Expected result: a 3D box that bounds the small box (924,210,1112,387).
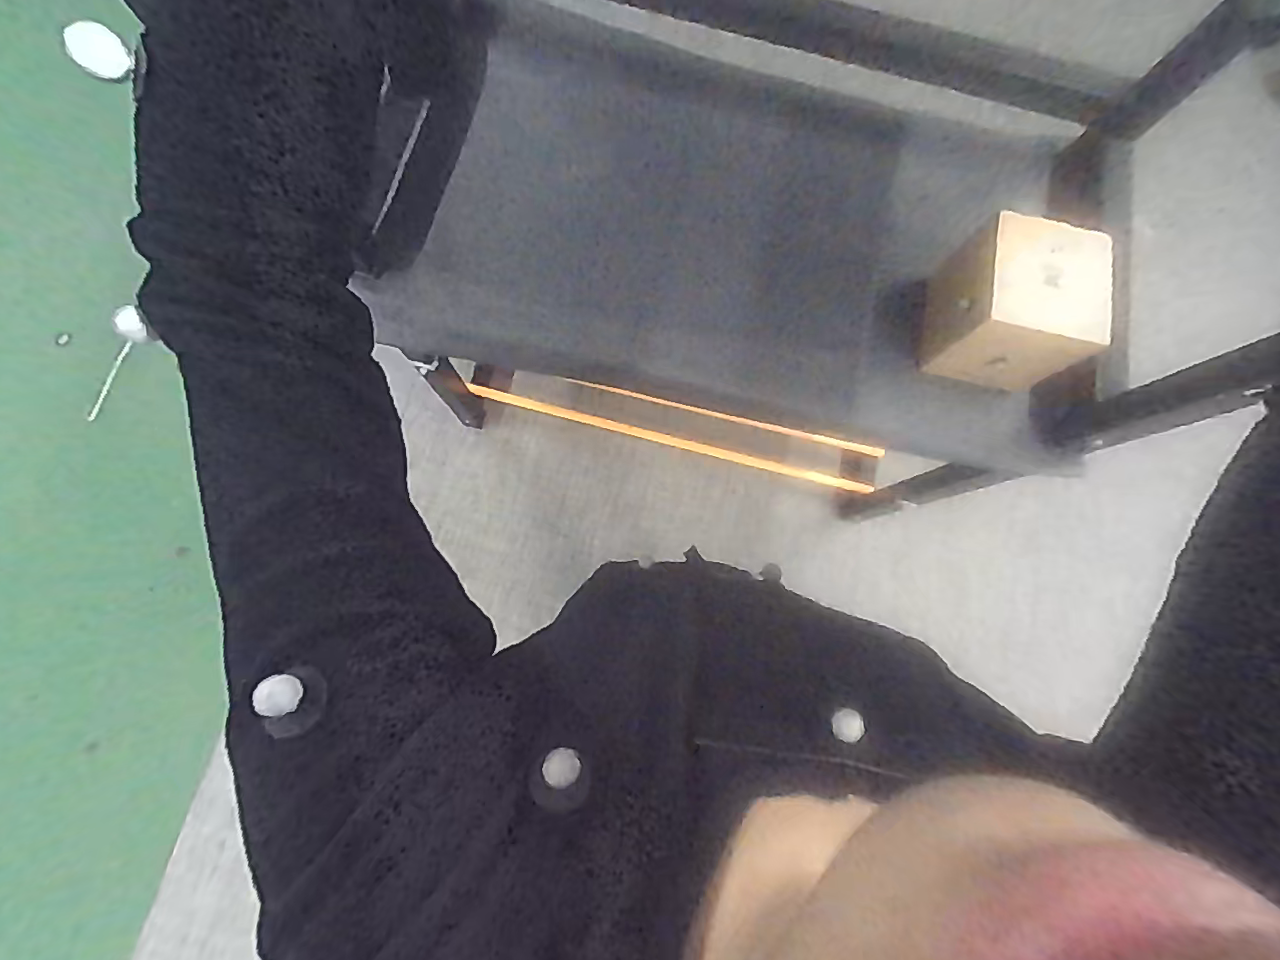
[{"bbox_3d":[0.553,-0.259,0.810,0.168,0.176,0.179,13,77,-1],"label":"small box"}]
